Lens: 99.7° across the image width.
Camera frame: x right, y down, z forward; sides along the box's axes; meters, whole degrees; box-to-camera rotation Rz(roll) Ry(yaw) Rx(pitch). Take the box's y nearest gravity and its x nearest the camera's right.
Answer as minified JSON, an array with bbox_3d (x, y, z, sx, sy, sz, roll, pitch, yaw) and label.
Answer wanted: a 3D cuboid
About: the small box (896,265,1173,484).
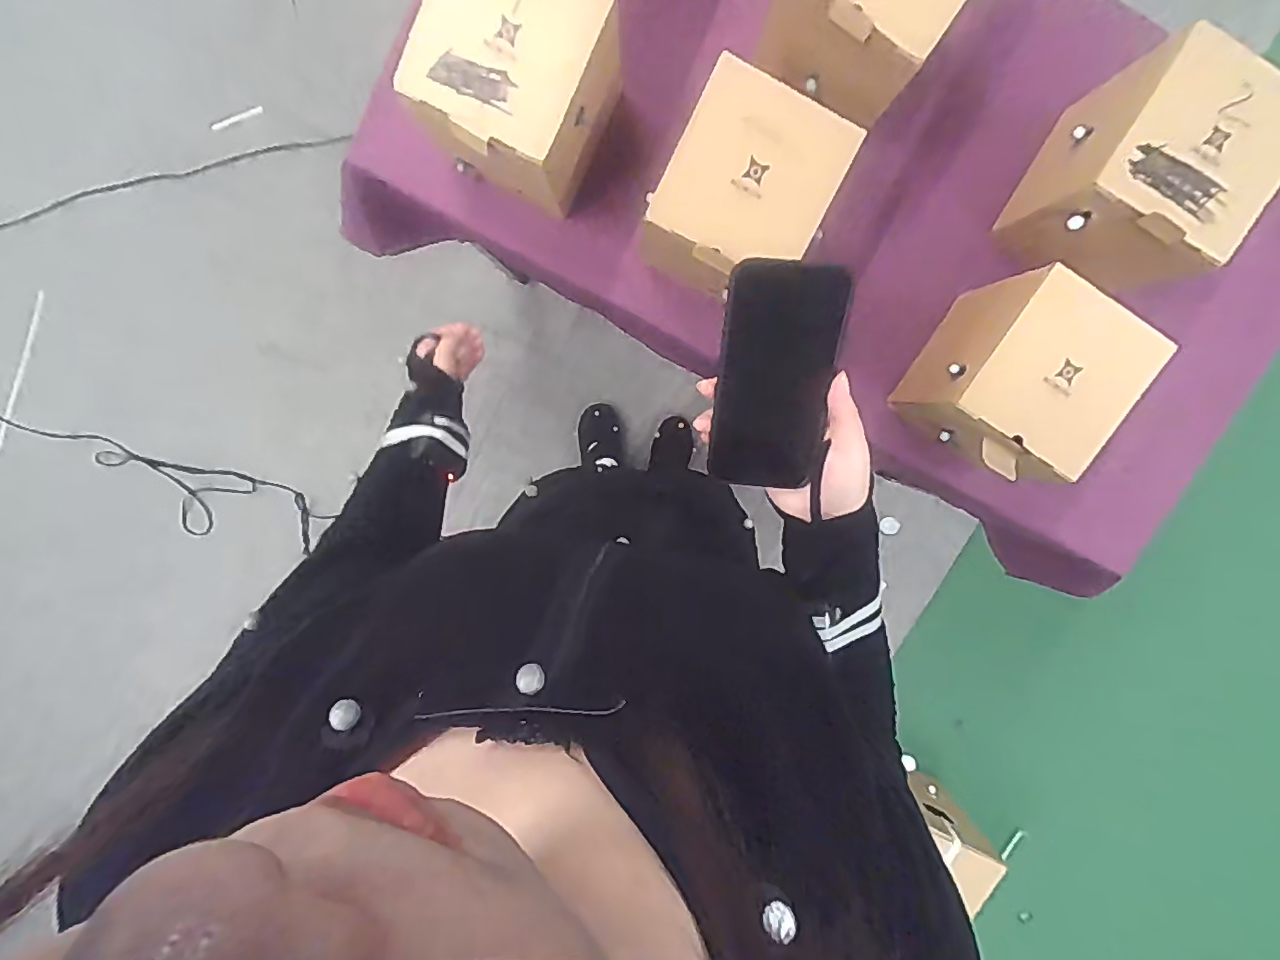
[{"bbox_3d":[0.450,-0.122,0.653,0.168,0.176,0.179,32,99,-5],"label":"small box"}]

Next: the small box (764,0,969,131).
[{"bbox_3d":[0.256,-0.530,0.583,0.168,0.176,0.179,34,99,-5],"label":"small box"}]

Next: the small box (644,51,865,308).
[{"bbox_3d":[0.116,-0.319,0.622,0.168,0.176,0.179,27,98,-5],"label":"small box"}]

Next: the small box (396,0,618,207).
[{"bbox_3d":[-0.129,-0.441,0.600,0.168,0.176,0.179,26,98,-5],"label":"small box"}]
